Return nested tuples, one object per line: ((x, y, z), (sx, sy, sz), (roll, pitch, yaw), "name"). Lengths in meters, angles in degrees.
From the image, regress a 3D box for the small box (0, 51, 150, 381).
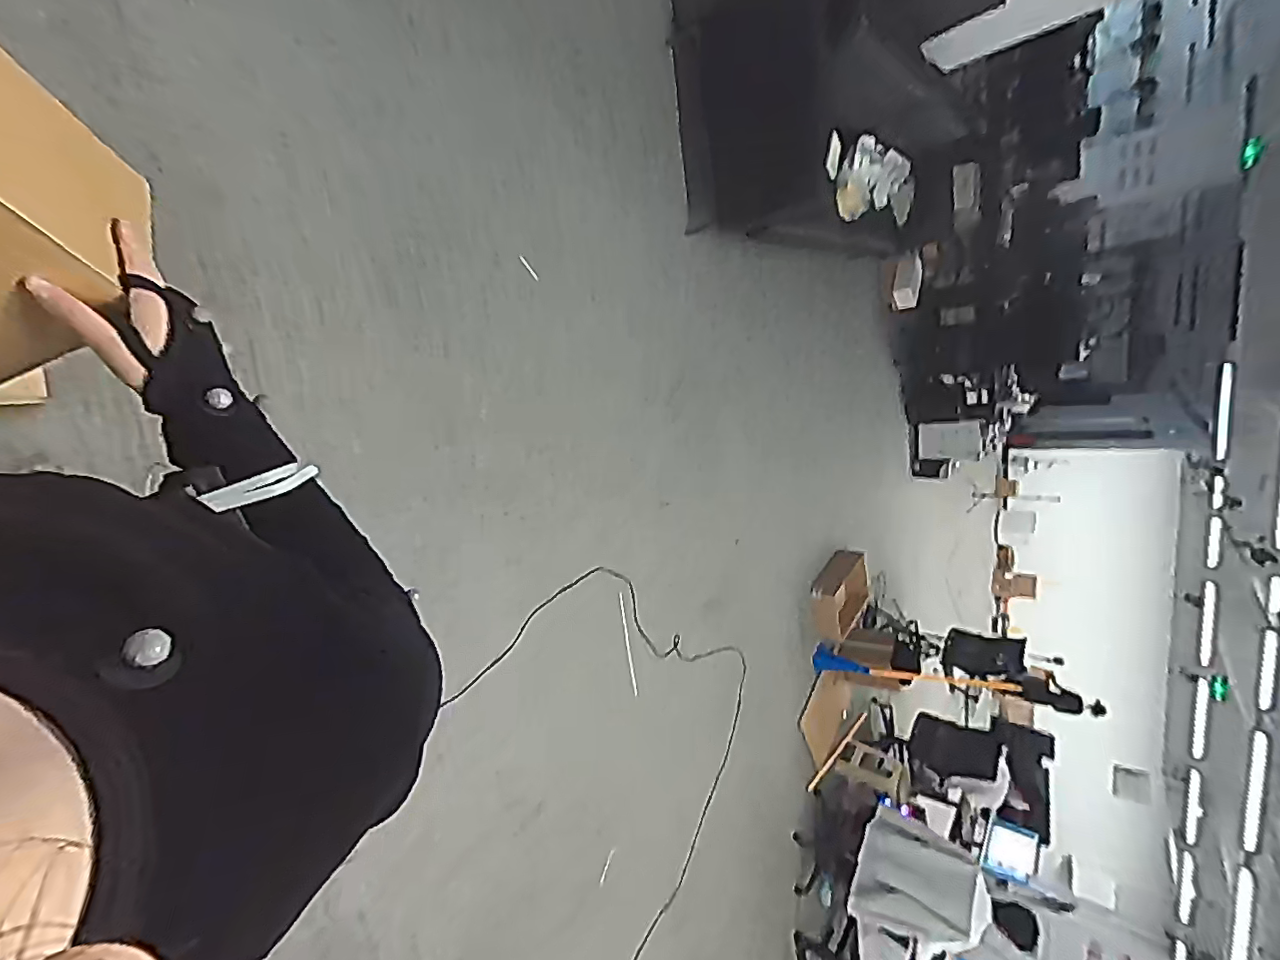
((-0.487, -0.194, 0.366), (0.179, 0.168, 0.176), (66, -1, -64), "small box")
